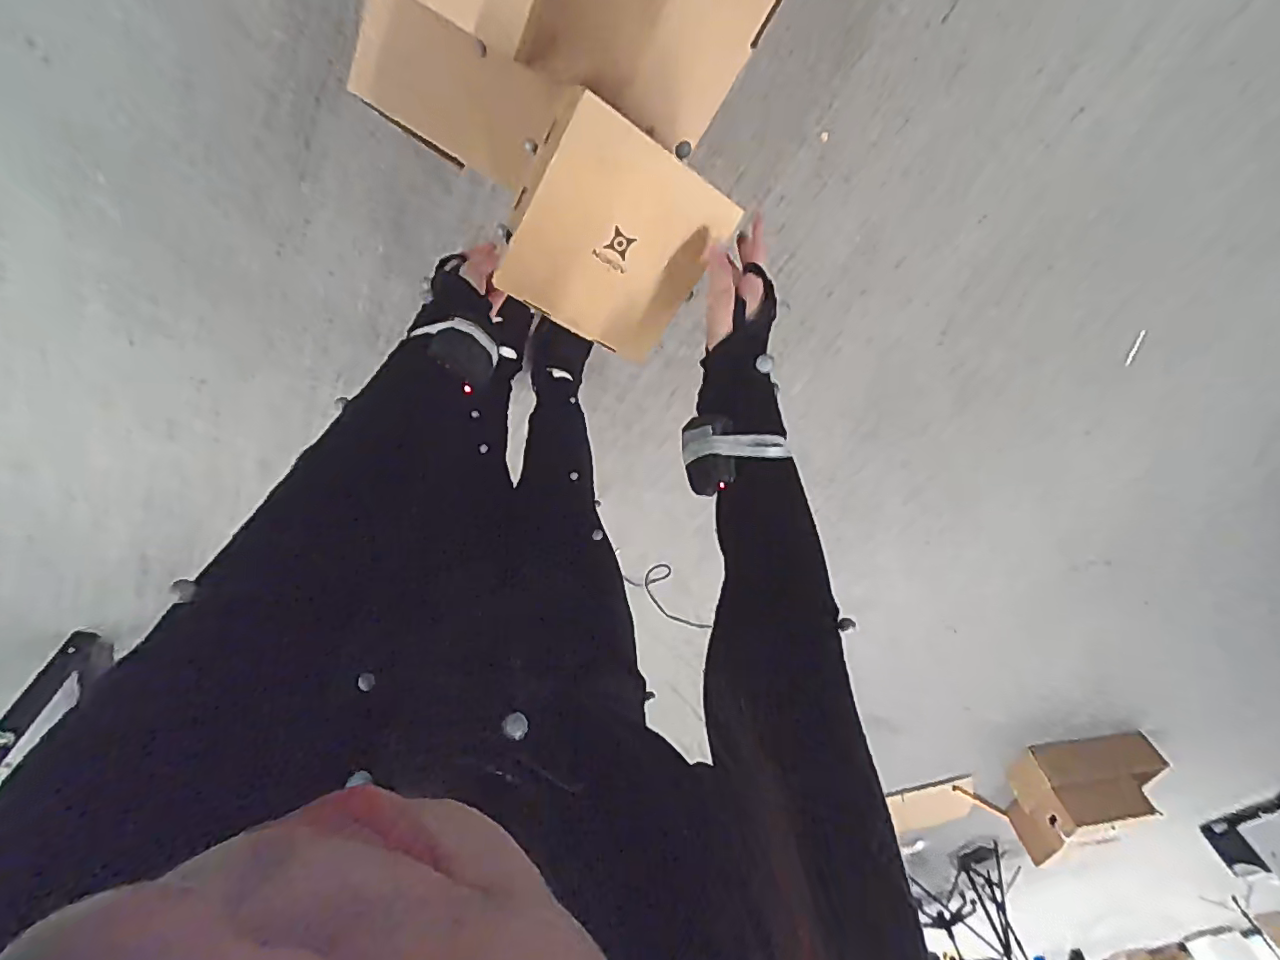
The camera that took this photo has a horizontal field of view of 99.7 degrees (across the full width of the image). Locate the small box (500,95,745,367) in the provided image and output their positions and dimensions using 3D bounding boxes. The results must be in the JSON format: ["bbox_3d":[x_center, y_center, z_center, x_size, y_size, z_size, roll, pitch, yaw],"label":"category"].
[{"bbox_3d":[-0.028,-0.256,0.552,0.168,0.176,0.179,25,121,-25],"label":"small box"}]

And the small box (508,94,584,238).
[{"bbox_3d":[-0.047,-0.353,0.681,0.179,0.176,0.168,24,120,-25],"label":"small box"}]
